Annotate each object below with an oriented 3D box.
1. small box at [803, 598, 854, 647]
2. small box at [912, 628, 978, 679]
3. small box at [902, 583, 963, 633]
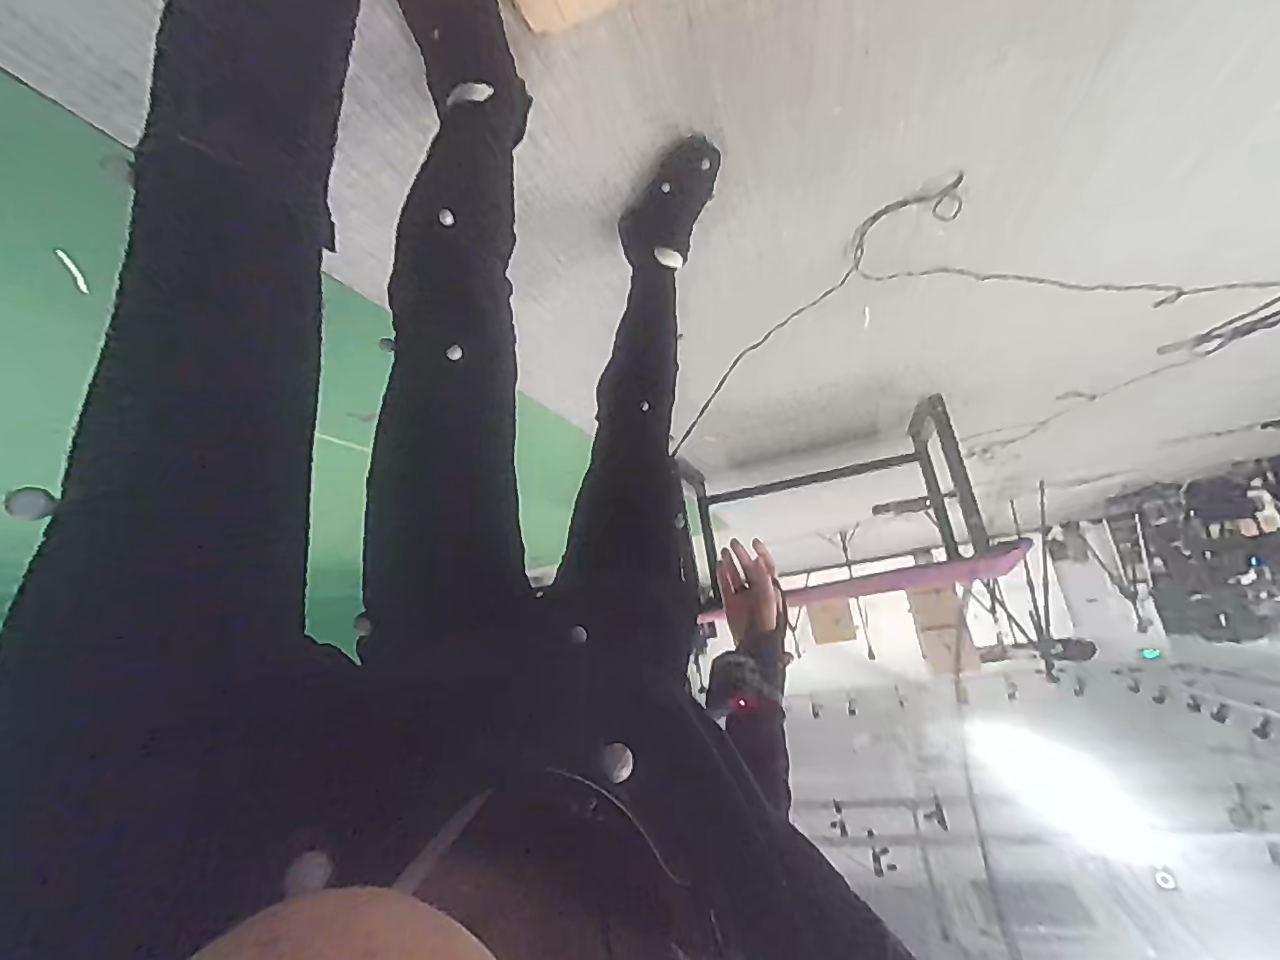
[{"bbox_3d":[0.777,0.585,2.234,0.168,0.176,0.179,-14,165,18],"label":"small box"},{"bbox_3d":[1.159,0.655,2.069,0.168,0.176,0.179,-13,163,17],"label":"small box"},{"bbox_3d":[1.140,0.501,2.123,0.168,0.176,0.179,-14,163,18],"label":"small box"}]
